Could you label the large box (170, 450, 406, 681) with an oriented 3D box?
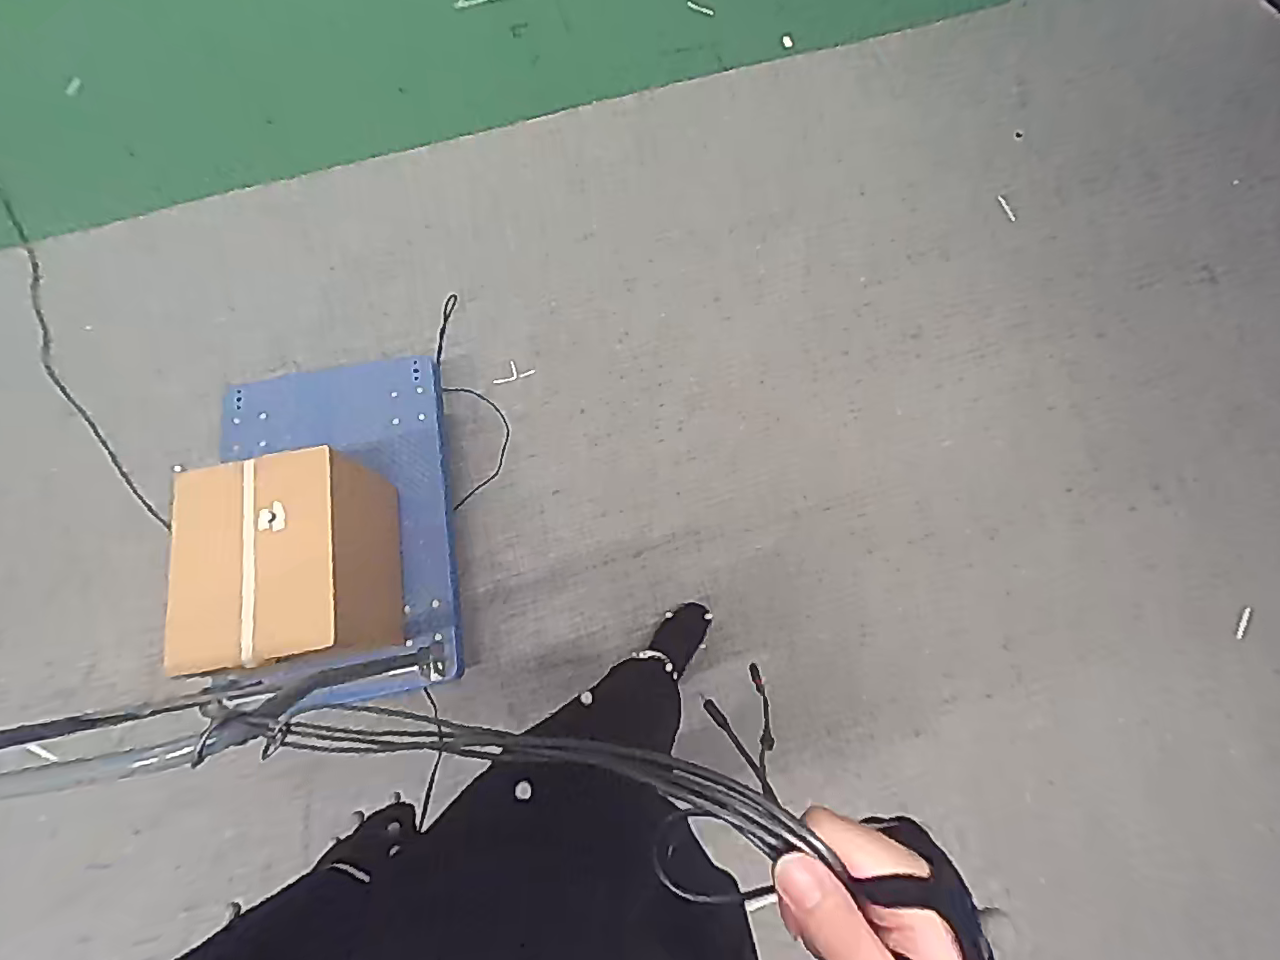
[{"bbox_3d":[-0.740,0.197,1.185,0.320,0.320,0.408,-11,72,-3],"label":"large box"}]
